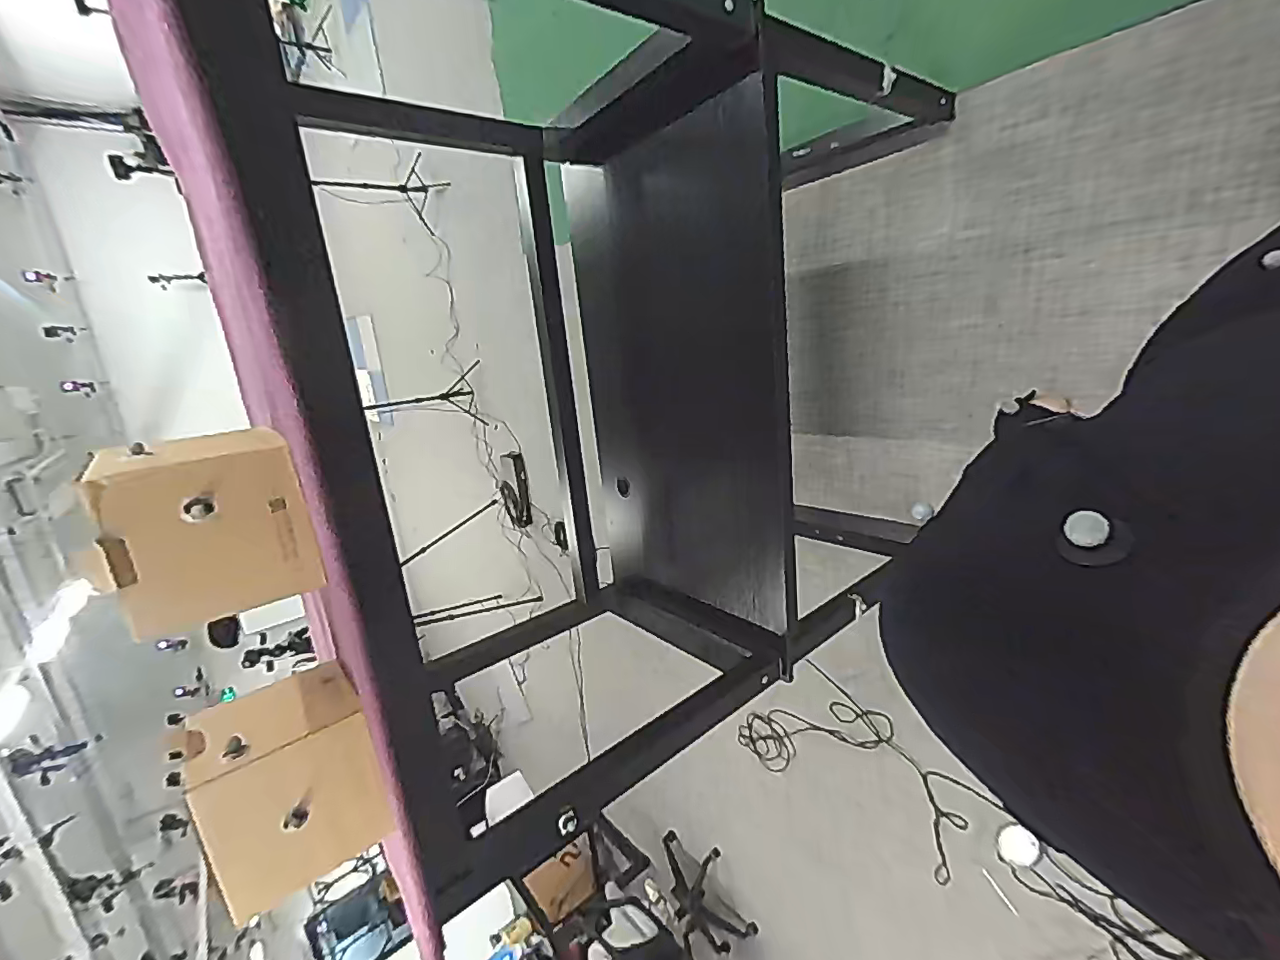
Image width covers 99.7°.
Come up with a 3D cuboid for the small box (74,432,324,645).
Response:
[{"bbox_3d":[-0.468,0.047,0.598,0.179,0.176,0.168,16,115,50],"label":"small box"}]
